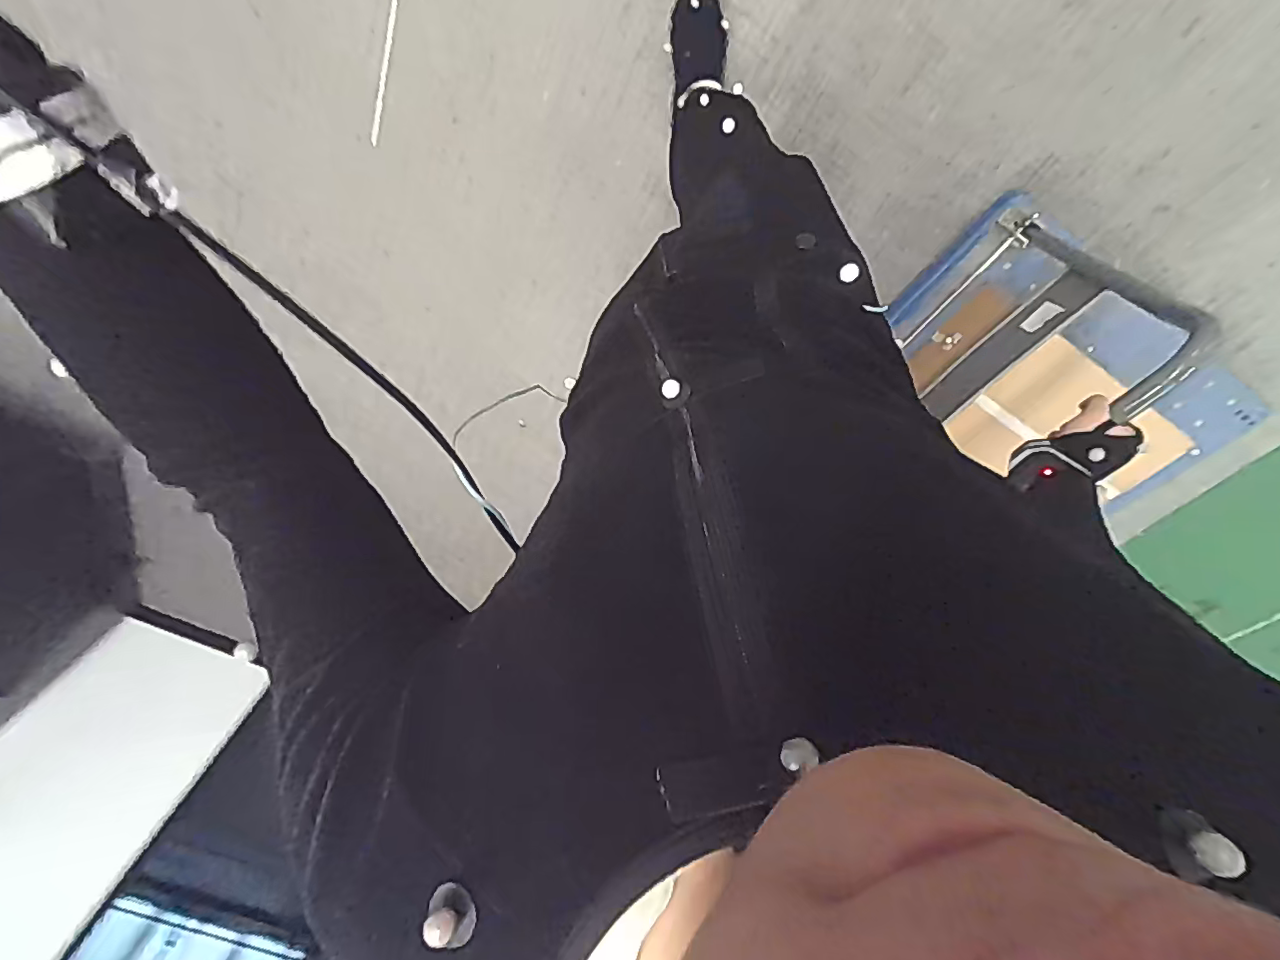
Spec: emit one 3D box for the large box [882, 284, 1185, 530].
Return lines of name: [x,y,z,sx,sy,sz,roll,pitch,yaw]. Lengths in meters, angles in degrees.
large box: [0.832,-0.166,1.210,0.408,0.320,0.320,30,126,-12]
